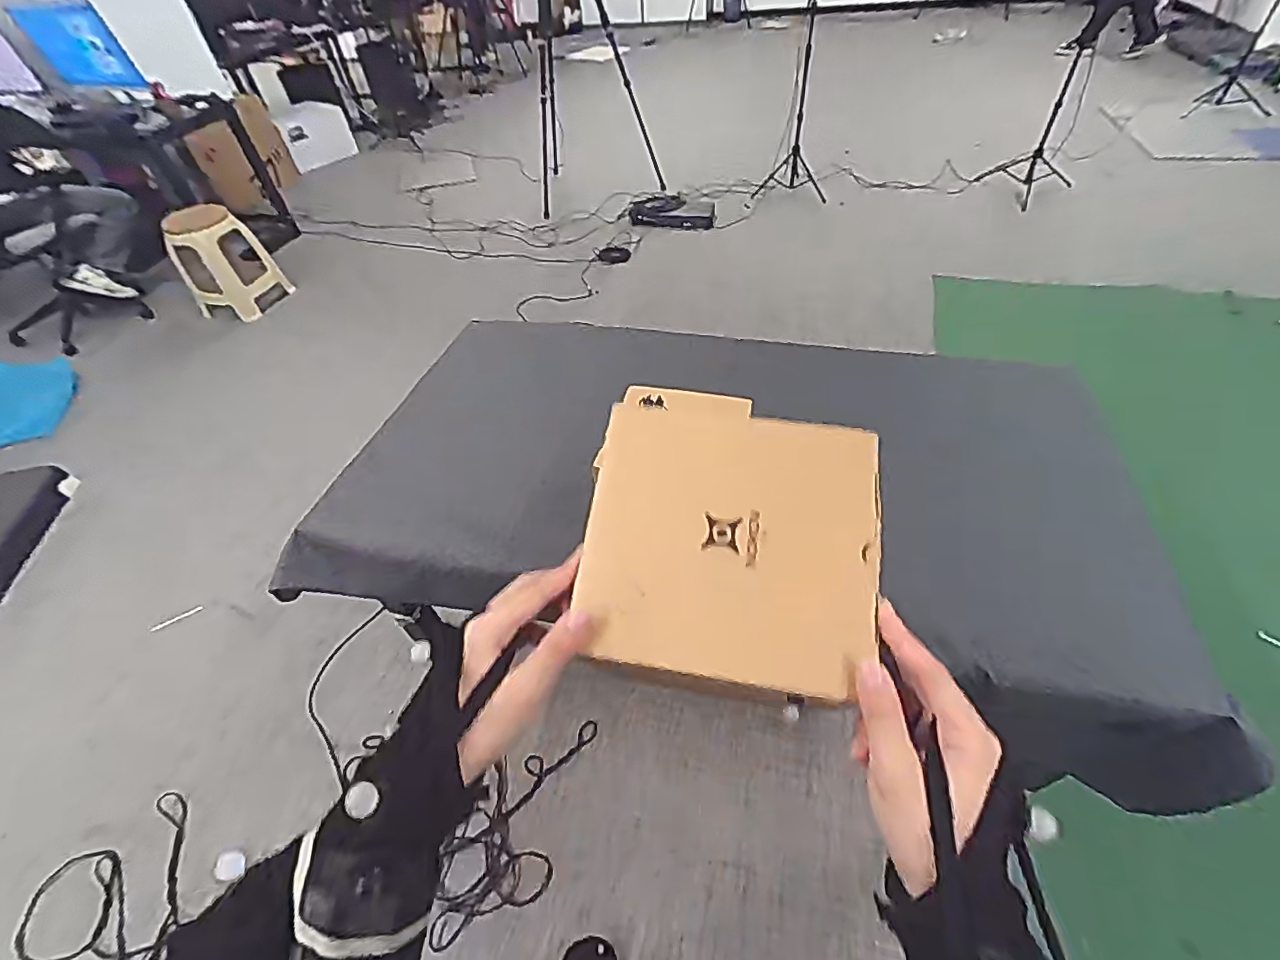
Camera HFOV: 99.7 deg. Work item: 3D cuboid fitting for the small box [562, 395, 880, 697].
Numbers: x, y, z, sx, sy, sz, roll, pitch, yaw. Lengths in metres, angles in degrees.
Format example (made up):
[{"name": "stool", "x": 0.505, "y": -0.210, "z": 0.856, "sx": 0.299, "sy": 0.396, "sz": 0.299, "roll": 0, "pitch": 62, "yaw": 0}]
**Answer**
[{"name": "small box", "x": 0.058, "y": 0.059, "z": 0.397, "sx": 0.179, "sy": 0.176, "sz": 0.168, "roll": 8, "pitch": 67, "yaw": 6}]
